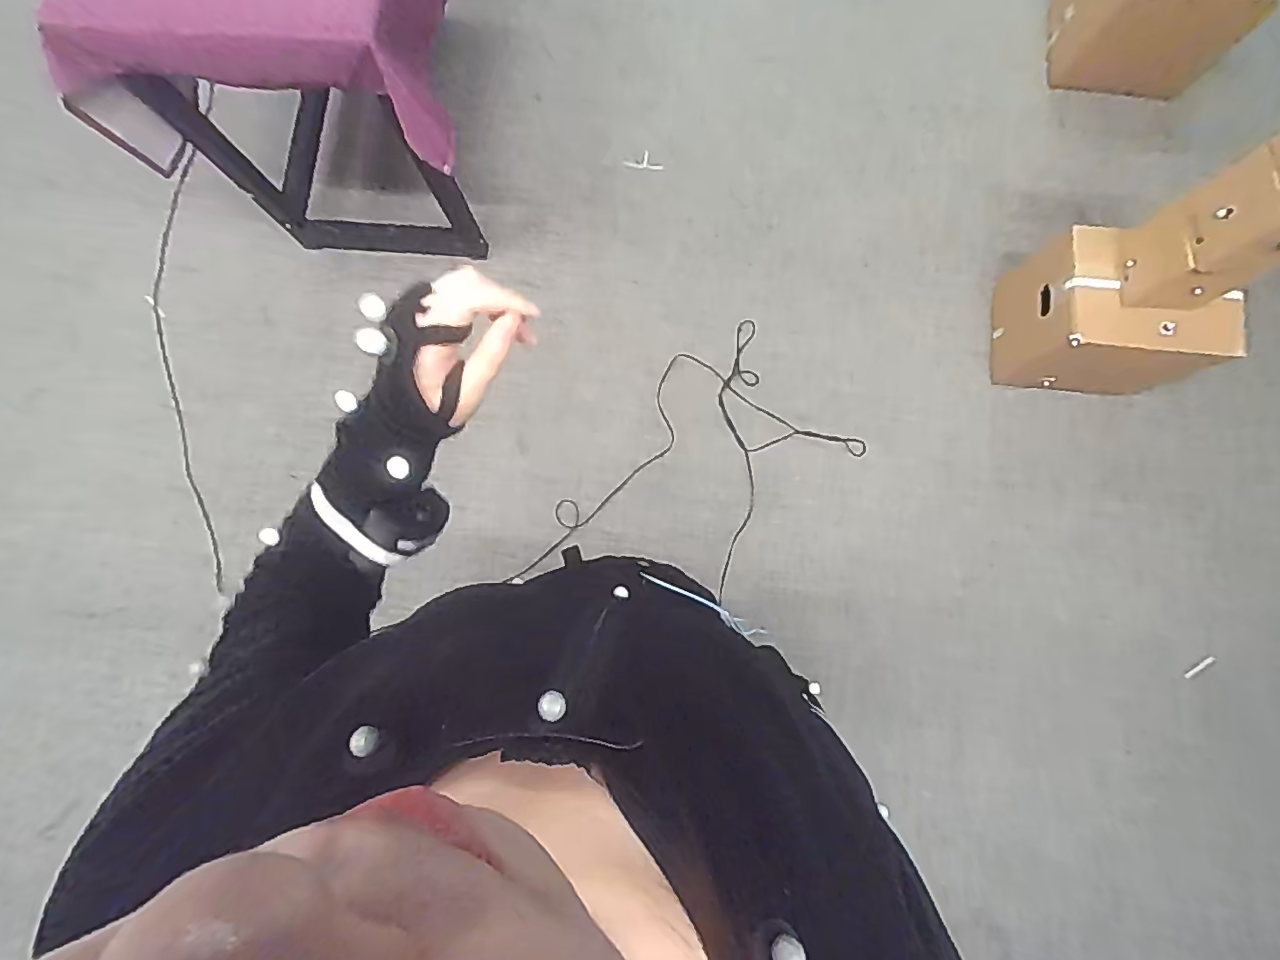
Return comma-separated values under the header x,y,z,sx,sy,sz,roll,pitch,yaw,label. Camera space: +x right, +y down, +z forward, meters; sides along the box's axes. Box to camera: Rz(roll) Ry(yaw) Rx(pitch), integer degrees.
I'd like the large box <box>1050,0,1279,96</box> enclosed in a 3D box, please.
x,y,z,sx,sy,sz,roll,pitch,yaw,label
1.530,-1.411,1.604,0.408,0.320,0.320,7,81,0,large box

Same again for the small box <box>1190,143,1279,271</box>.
x,y,z,sx,sy,sz,roll,pitch,yaw,label
1.242,-0.527,1.059,0.179,0.176,0.168,-2,80,1,small box
